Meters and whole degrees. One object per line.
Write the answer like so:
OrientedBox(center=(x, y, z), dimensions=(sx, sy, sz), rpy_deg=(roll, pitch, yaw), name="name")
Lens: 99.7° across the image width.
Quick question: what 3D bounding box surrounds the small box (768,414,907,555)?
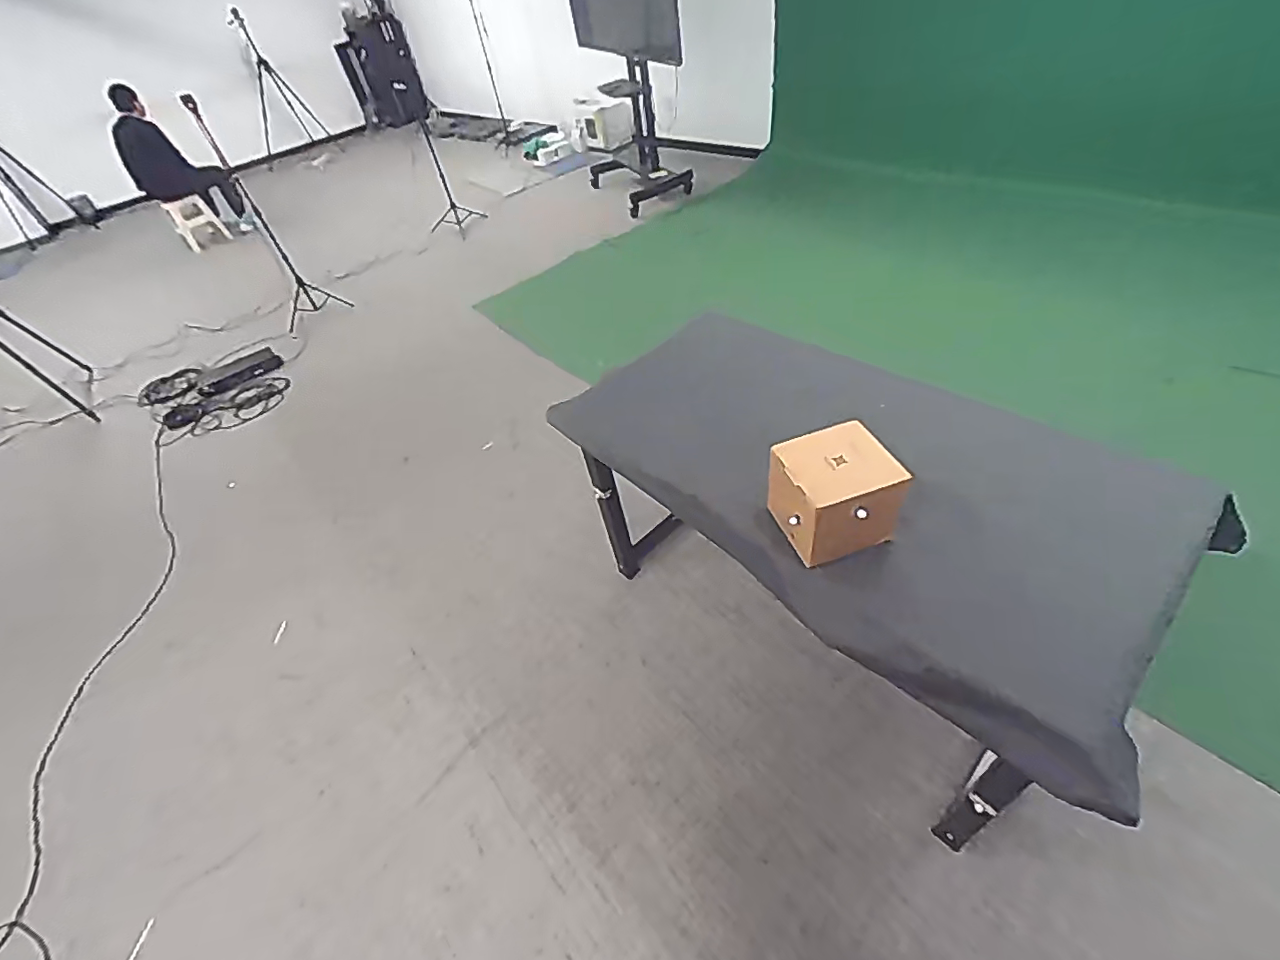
OrientedBox(center=(0.347, 0.012, 0.987), dimensions=(0.179, 0.176, 0.168), rpy_deg=(-17, 47, -7), name="small box")
